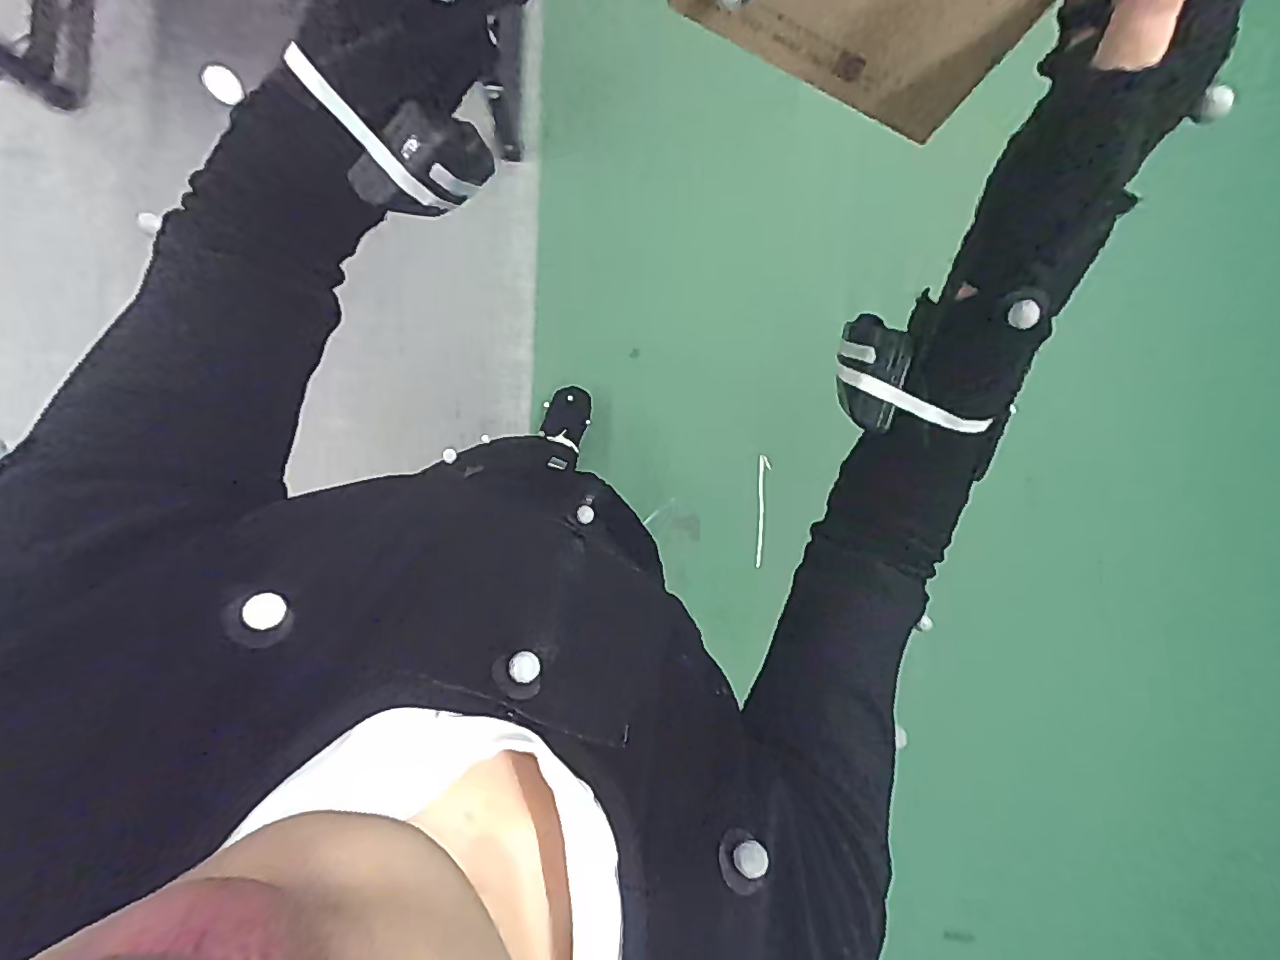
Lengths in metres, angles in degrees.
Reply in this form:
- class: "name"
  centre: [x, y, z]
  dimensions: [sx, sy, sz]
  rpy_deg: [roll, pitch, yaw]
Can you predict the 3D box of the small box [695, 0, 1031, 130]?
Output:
- class: "small box"
  centre: [0.130, -0.313, 0.244]
  dimensions: [0.168, 0.176, 0.179]
  rpy_deg: [23, 80, -6]
